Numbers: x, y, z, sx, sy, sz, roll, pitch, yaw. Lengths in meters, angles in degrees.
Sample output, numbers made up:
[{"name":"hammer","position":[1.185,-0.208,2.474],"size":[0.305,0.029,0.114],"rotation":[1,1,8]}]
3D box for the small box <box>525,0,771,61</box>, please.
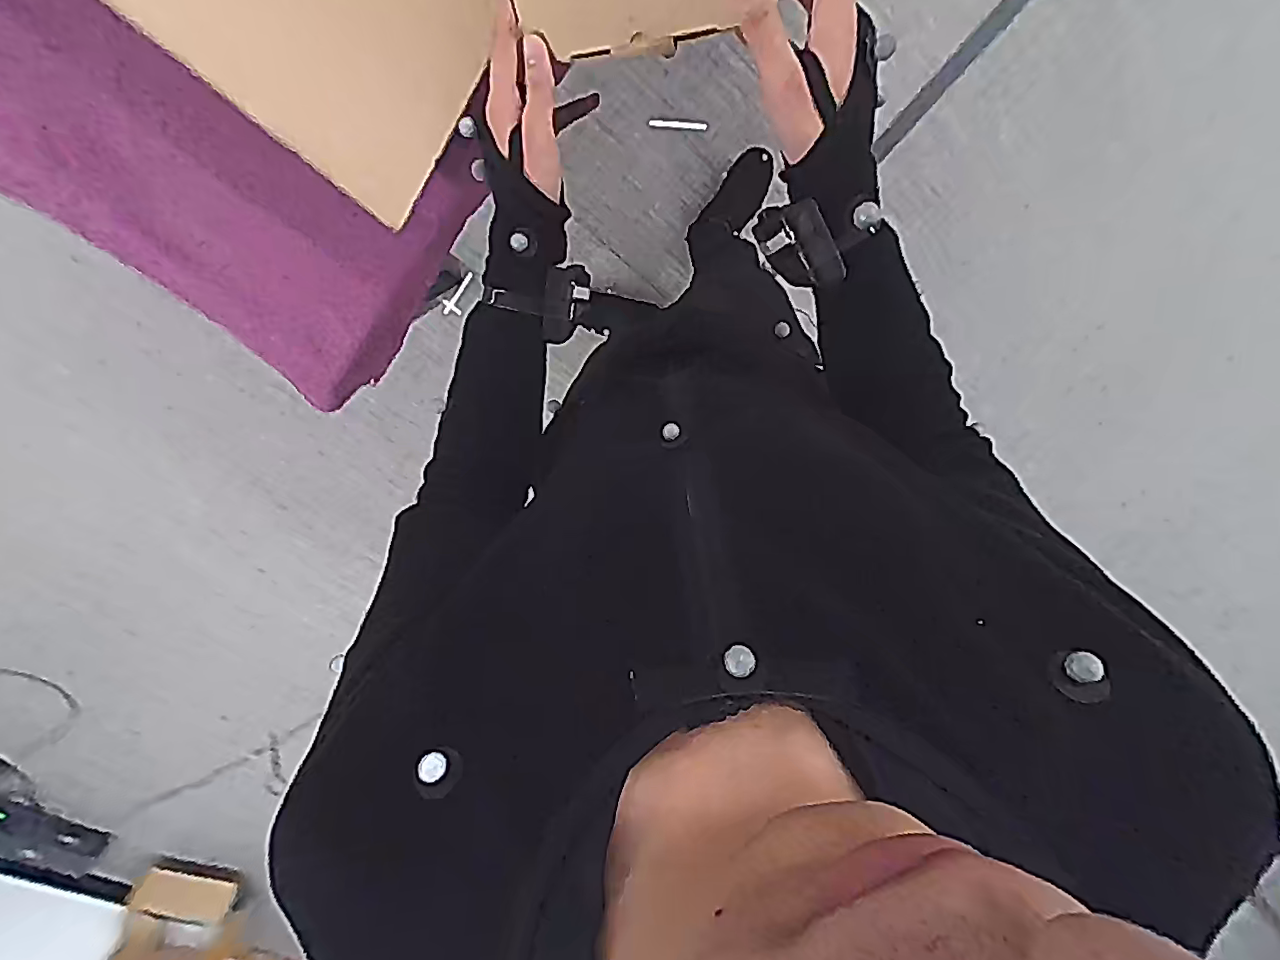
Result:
[{"name":"small box","position":[0.011,-0.412,0.357],"size":[0.168,0.176,0.179],"rotation":[2,136,15]}]
